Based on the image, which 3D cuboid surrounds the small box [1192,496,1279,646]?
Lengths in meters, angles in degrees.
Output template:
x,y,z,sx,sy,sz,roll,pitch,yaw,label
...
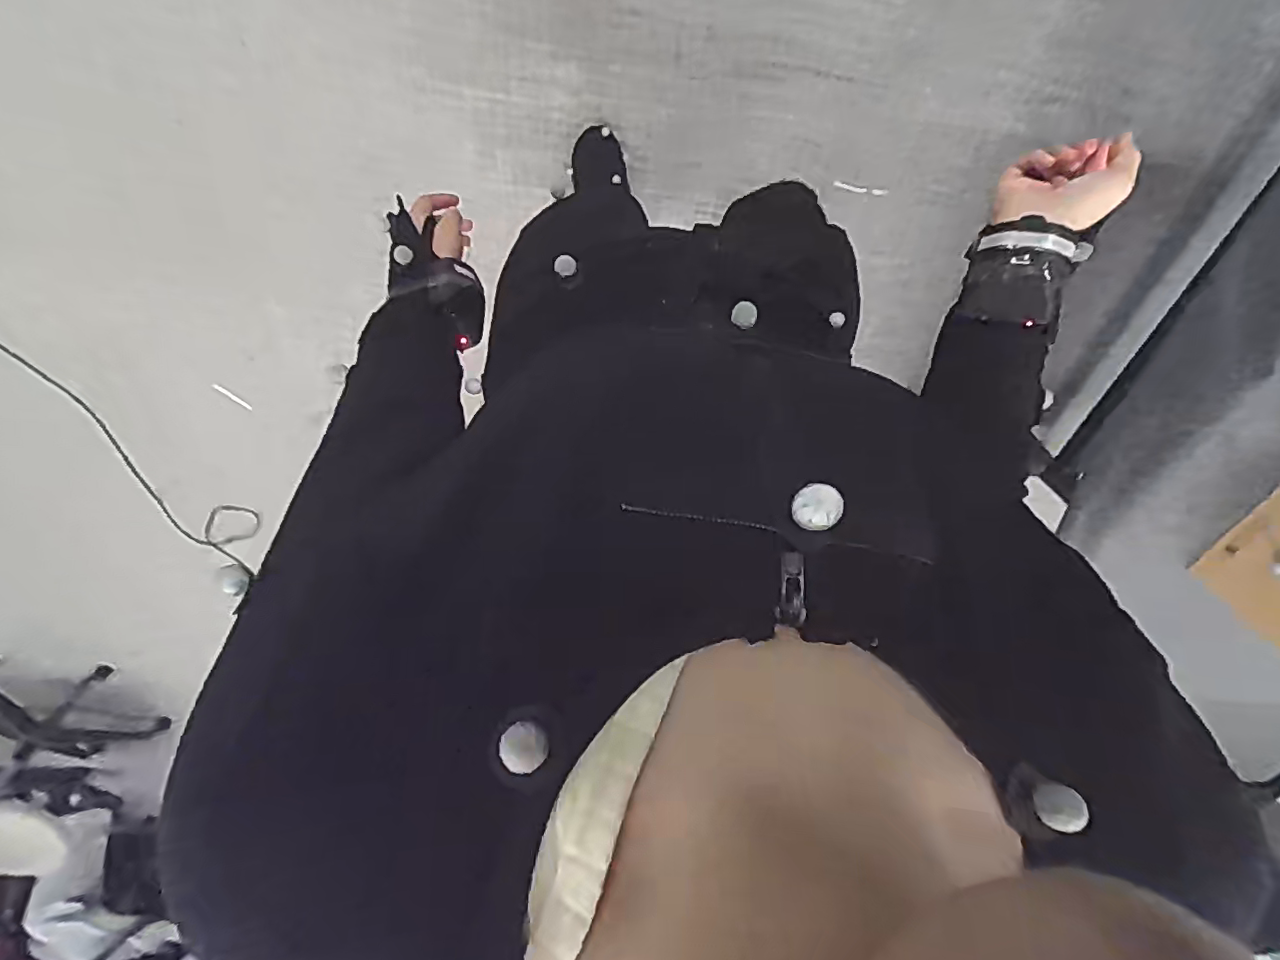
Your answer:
x,y,z,sx,sy,sz,roll,pitch,yaw,label
0.867,0.123,0.663,0.179,0.176,0.168,8,126,-7,small box
